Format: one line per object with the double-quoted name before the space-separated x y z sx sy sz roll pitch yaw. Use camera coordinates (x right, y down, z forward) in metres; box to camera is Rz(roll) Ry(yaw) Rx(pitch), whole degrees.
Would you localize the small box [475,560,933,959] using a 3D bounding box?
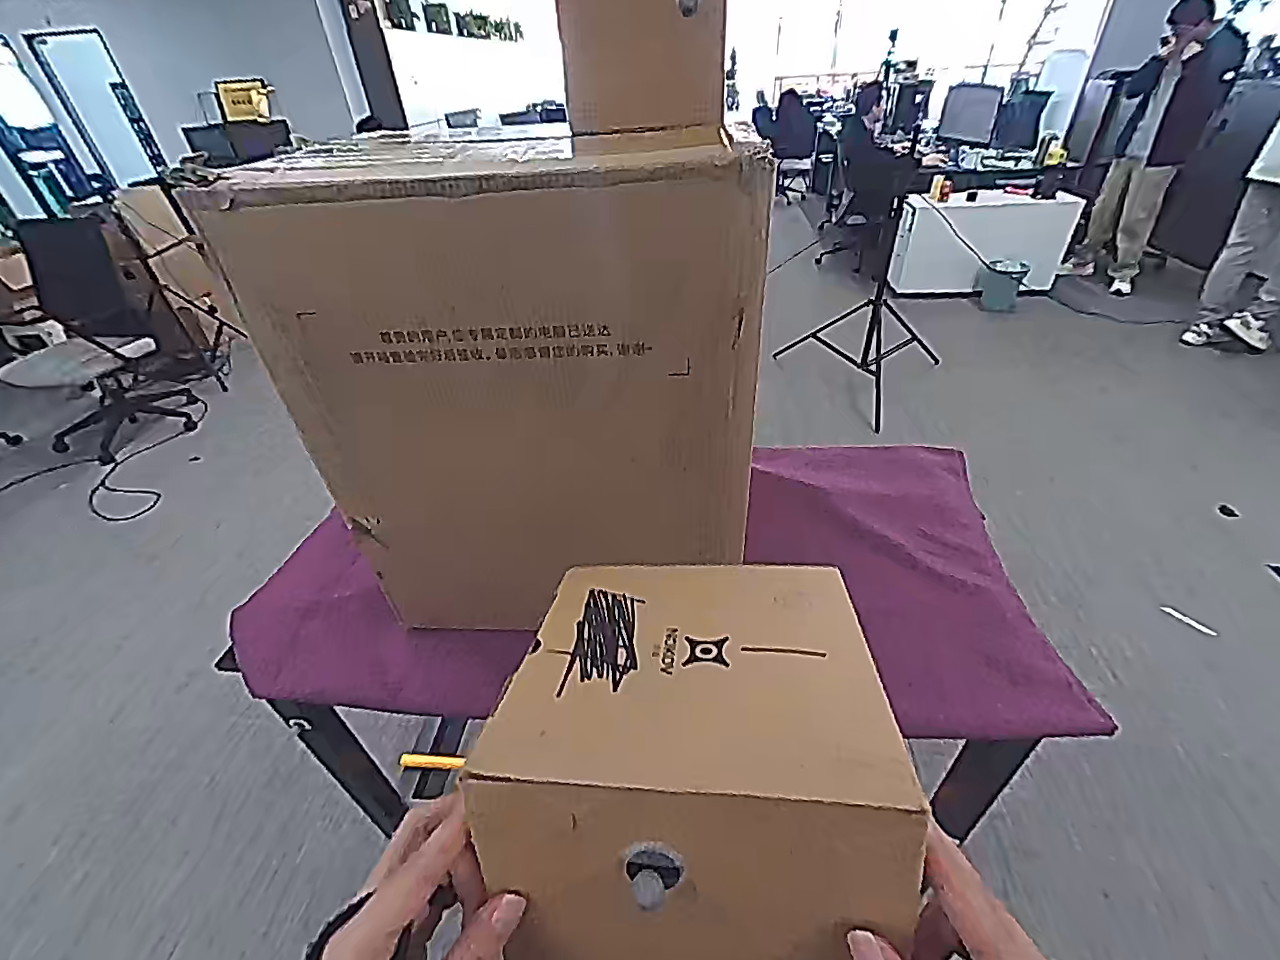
"small box" 0.037 0.158 0.299 0.179 0.176 0.168 -2 20 9
